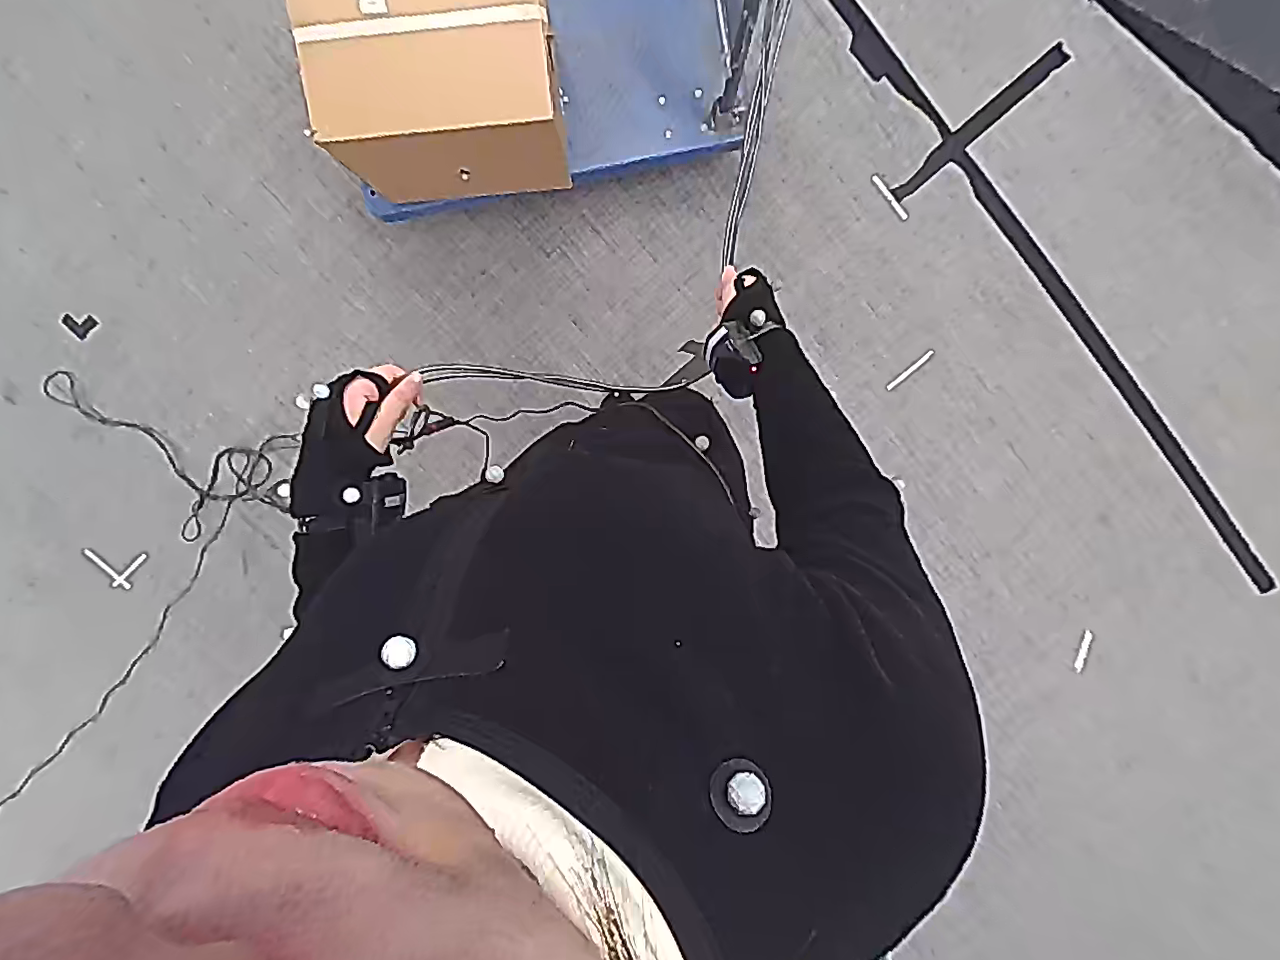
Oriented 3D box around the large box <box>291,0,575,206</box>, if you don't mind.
[{"bbox_3d":[-0.355,-0.746,1.021,0.408,0.320,0.320,-6,99,0],"label":"large box"}]
